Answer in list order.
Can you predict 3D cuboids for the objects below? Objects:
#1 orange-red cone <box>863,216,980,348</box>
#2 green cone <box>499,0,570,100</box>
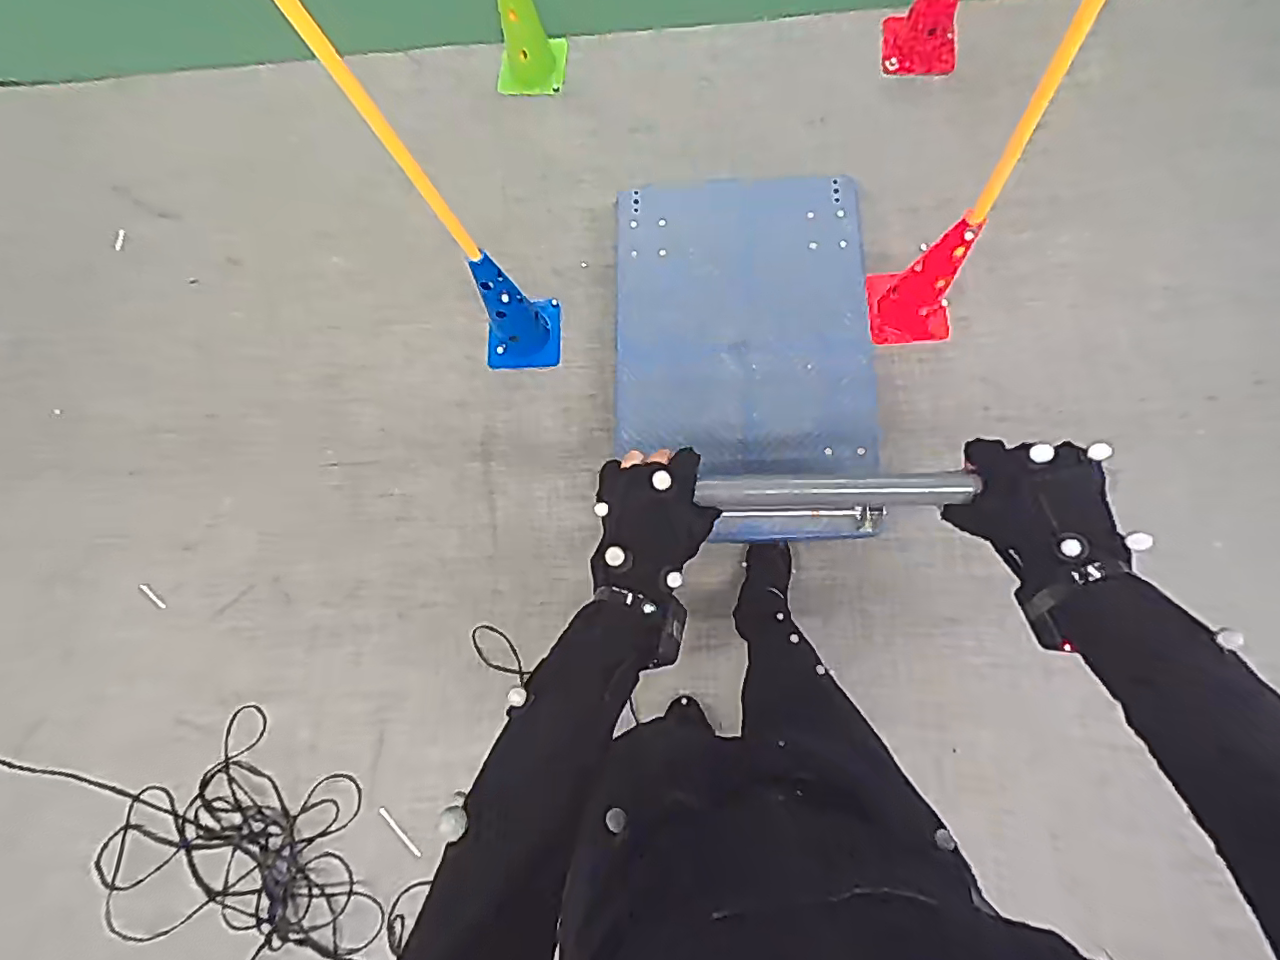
[{"bbox_3d":[0.676,-0.474,1.250,0.199,0.360,0.198,-2,78,6],"label":"orange-red cone"},{"bbox_3d":[-0.335,-1.288,1.490,0.202,0.368,0.200,3,78,6],"label":"green cone"}]
